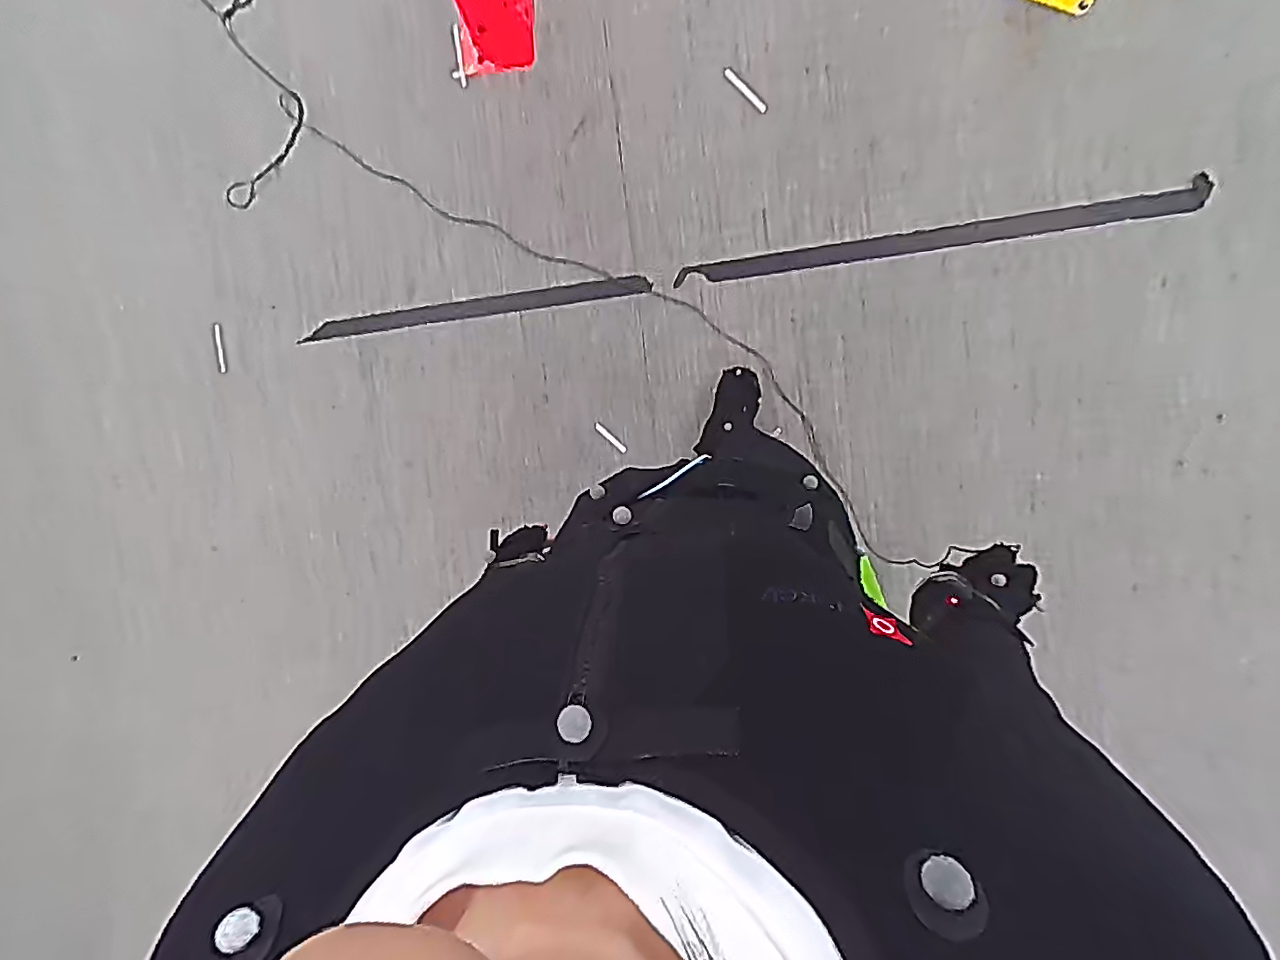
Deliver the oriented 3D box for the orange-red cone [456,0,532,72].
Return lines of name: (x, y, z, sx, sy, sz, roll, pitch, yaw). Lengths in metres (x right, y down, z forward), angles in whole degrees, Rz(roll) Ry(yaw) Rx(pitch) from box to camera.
orange-red cone: (-0.395, -1.137, 1.214, 0.199, 0.360, 0.198, 2, 96, 8)

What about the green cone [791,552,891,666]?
green cone: (0.473, 0.312, 1.194, 0.202, 0.368, 0.200, -22, 90, 12)
